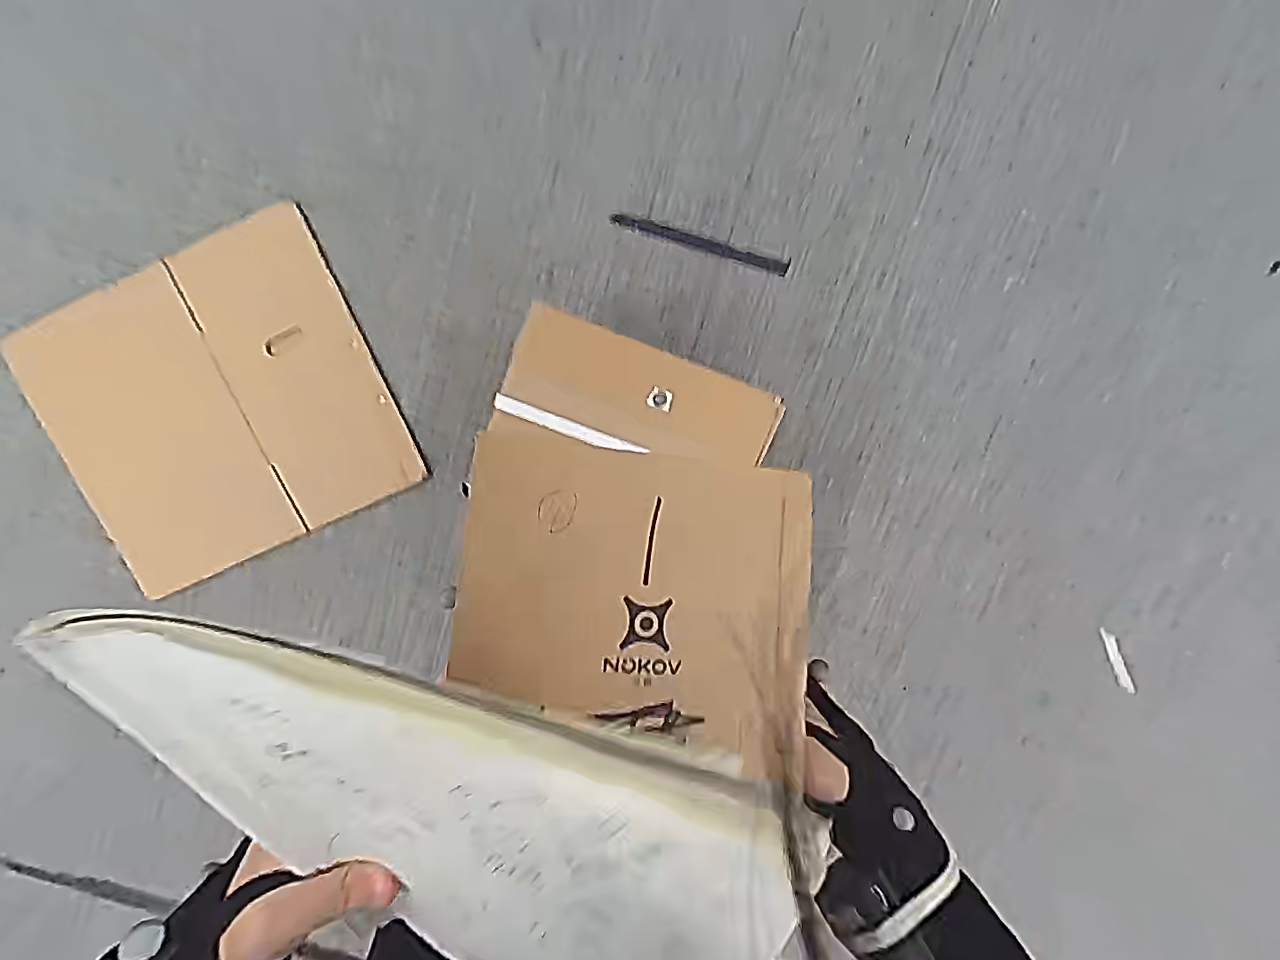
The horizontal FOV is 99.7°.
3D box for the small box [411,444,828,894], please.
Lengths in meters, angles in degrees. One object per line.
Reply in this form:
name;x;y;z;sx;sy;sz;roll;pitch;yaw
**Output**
small box;-0.015;0.090;0.307;0.168;0.176;0.179;7;81;-11
